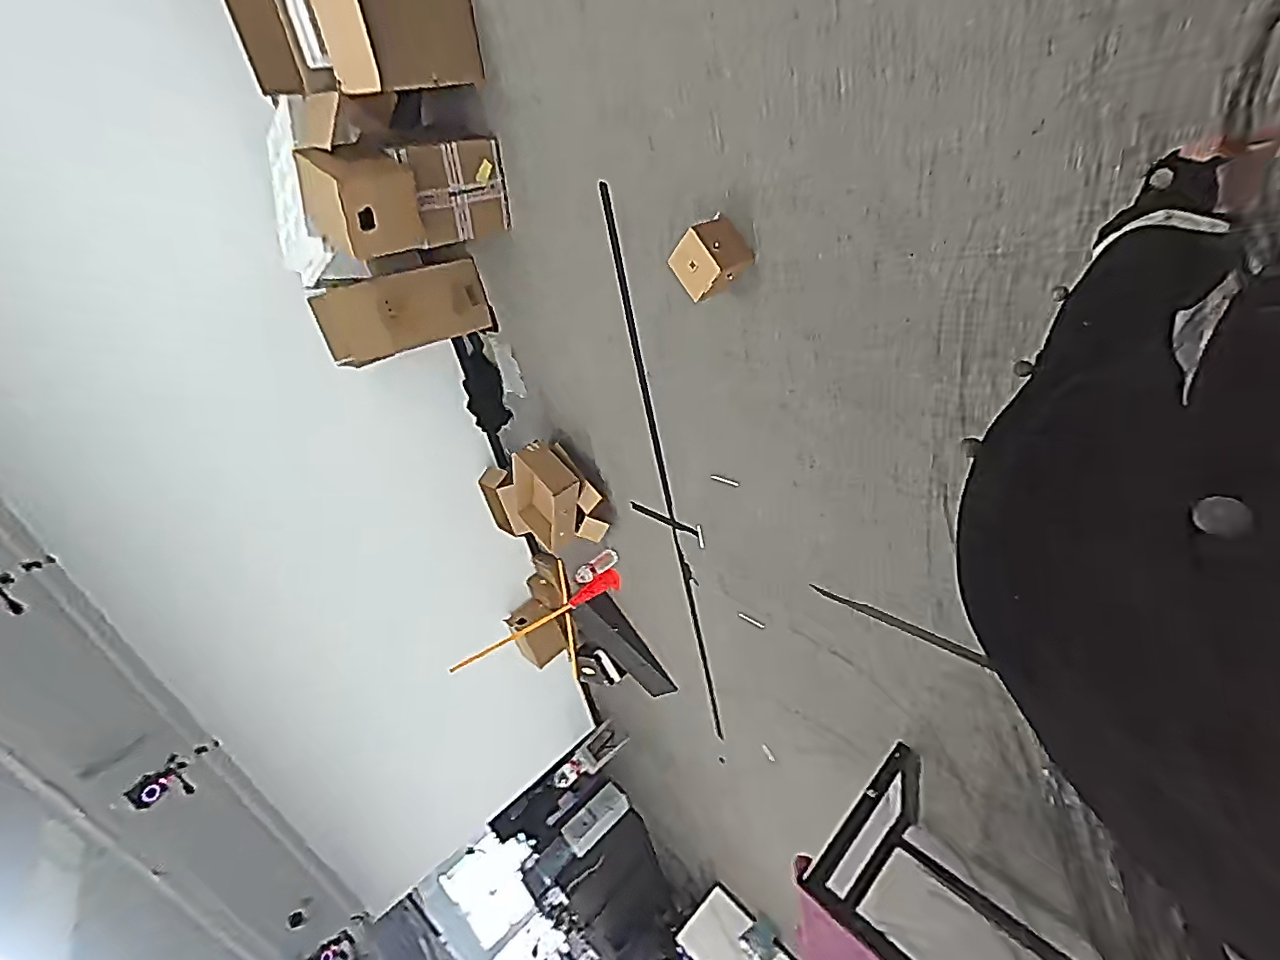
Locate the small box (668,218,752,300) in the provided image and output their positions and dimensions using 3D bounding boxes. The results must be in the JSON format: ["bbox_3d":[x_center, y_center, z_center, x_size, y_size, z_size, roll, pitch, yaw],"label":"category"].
[{"bbox_3d":[0.231,-0.726,1.766,0.179,0.176,0.168,57,148,4],"label":"small box"}]
